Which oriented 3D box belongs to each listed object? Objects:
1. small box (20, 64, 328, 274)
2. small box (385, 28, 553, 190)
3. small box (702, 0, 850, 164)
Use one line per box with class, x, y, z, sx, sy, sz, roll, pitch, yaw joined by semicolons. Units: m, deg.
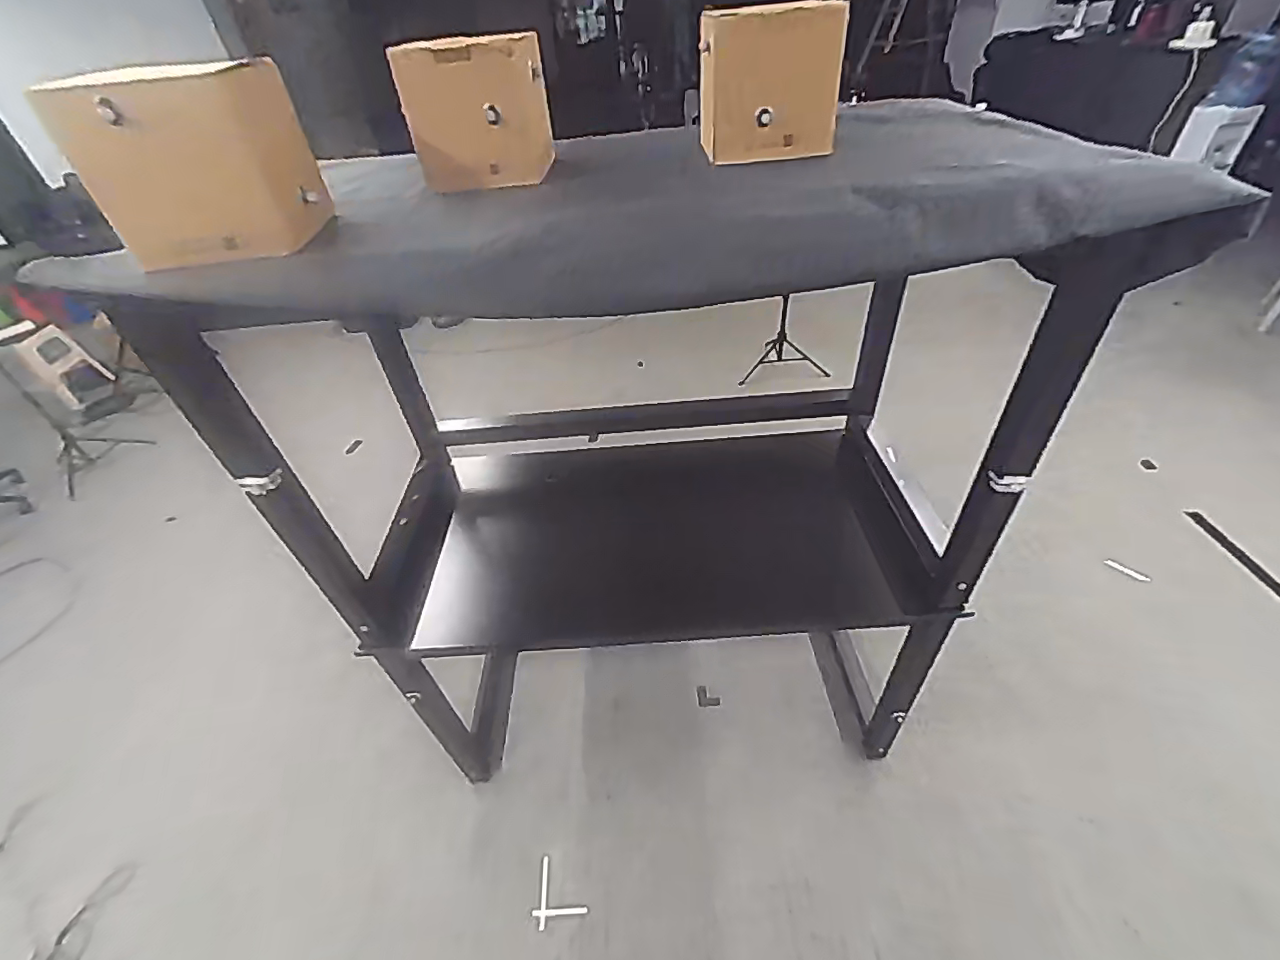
small box;-0.480;-0.346;0.601;0.168;0.176;0.179;-9;42;-4
small box;-0.227;-0.526;0.776;0.168;0.176;0.179;-2;42;3
small box;0.178;-0.563;0.768;0.168;0.176;0.179;-4;42;2
